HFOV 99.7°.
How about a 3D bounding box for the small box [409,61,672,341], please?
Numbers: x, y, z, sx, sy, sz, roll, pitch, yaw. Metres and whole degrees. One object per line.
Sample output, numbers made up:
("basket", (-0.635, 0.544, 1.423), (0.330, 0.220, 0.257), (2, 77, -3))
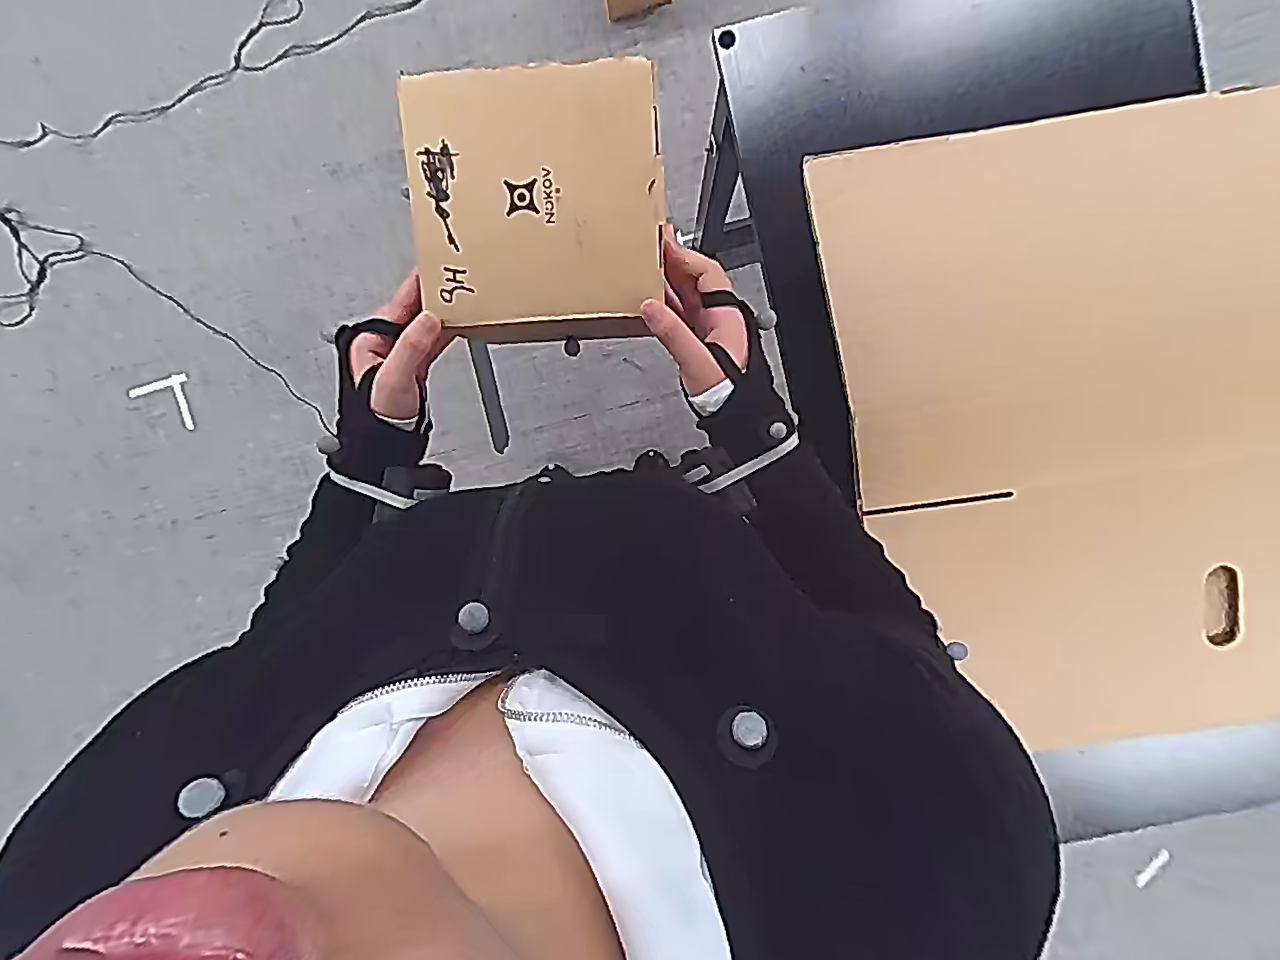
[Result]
("small box", (-0.068, -0.212, 0.456), (0.179, 0.176, 0.168), (-3, 98, 1))

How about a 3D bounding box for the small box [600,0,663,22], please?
("small box", (-0.029, -1.294, 1.332), (0.179, 0.176, 0.168), (-17, 93, 3))
